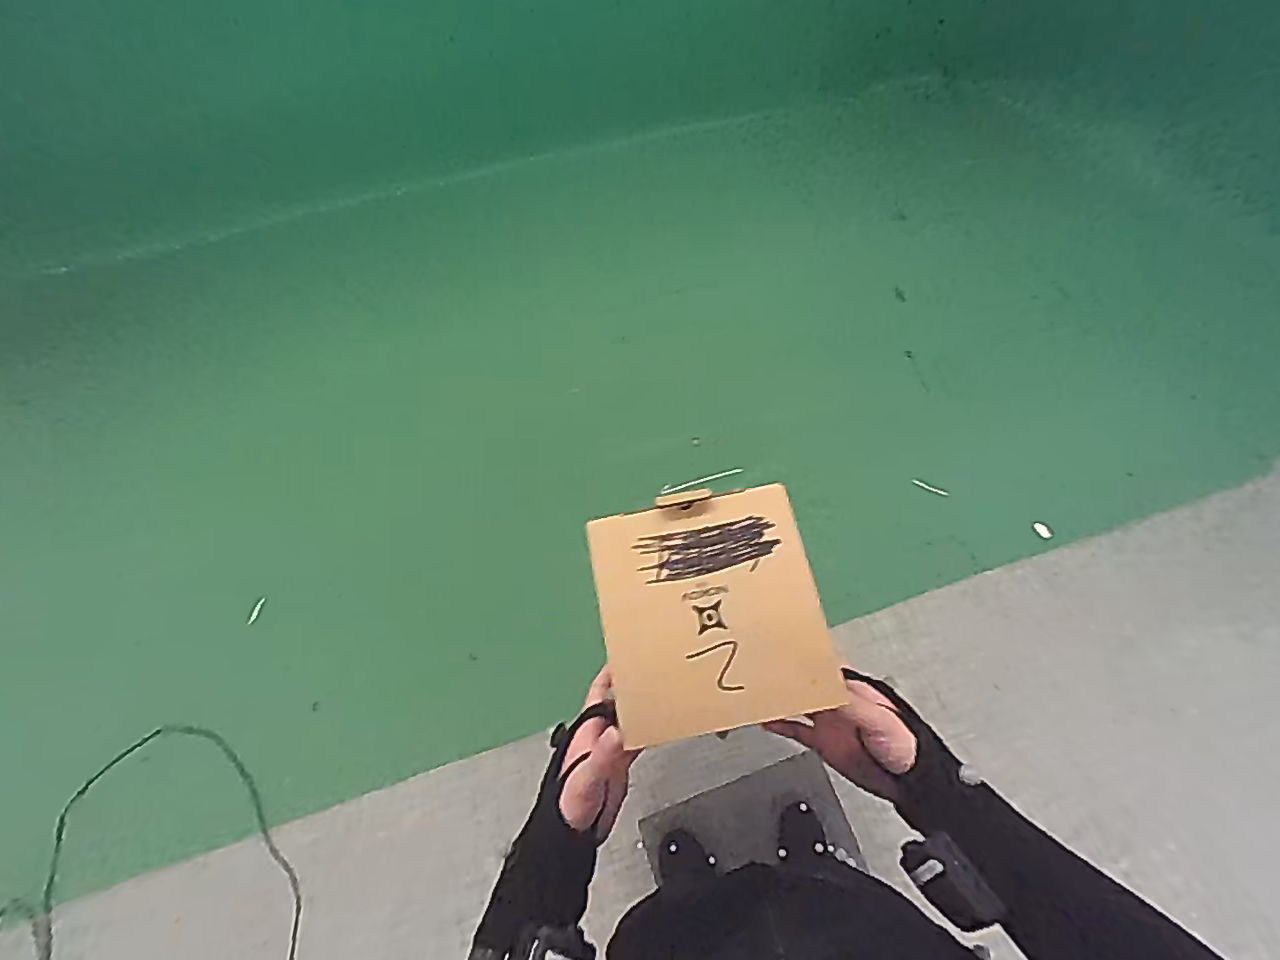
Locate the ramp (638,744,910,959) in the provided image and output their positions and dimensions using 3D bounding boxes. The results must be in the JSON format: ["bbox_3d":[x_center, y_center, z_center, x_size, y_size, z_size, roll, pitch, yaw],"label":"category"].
[{"bbox_3d":[0.388,1.177,1.175,0.509,0.206,0.991,-19,60,-9],"label":"ramp"}]
